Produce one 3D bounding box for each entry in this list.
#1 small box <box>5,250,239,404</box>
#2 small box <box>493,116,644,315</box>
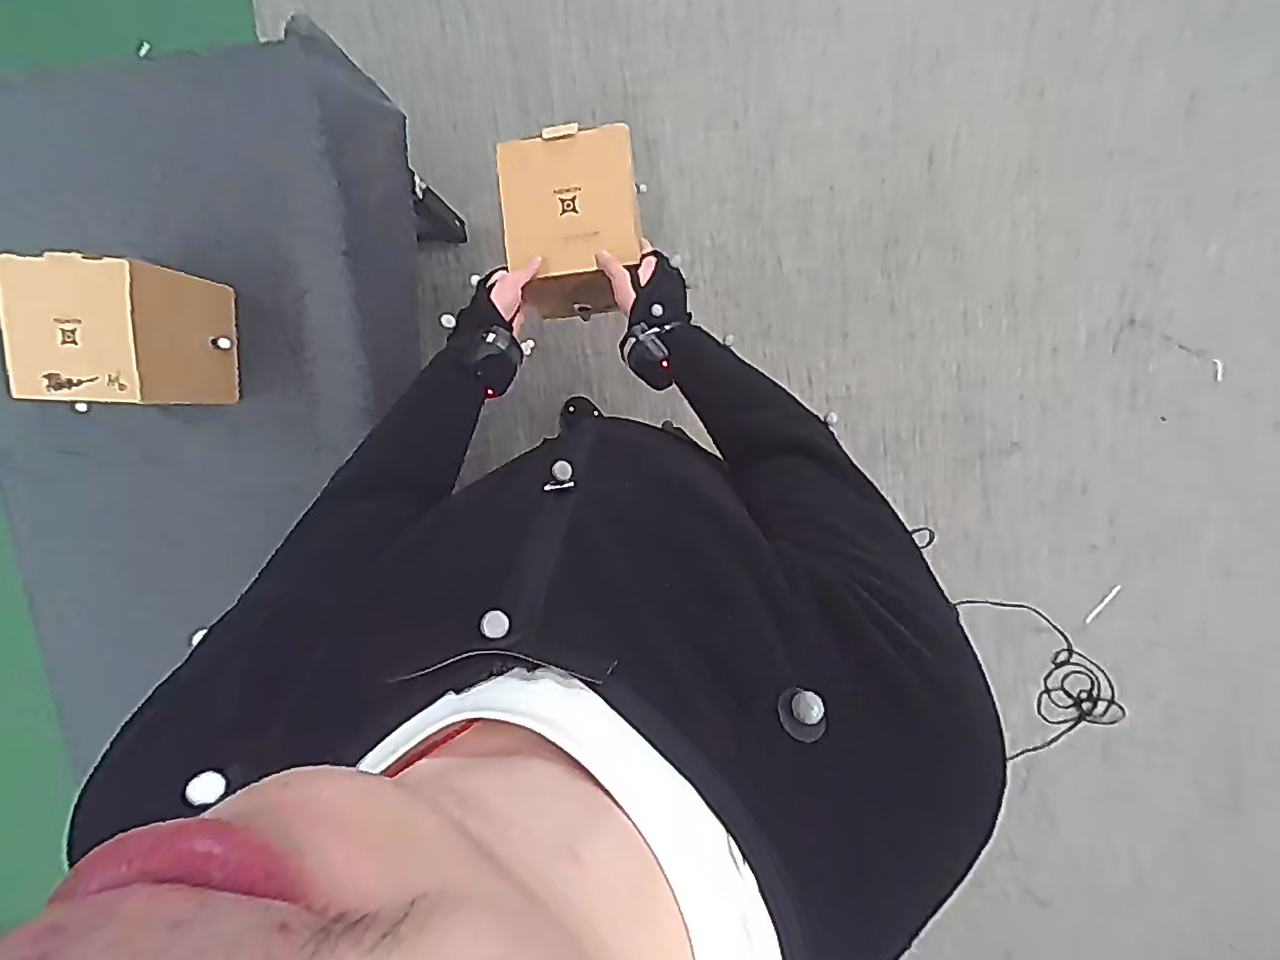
[{"bbox_3d":[-0.694,-0.199,0.746,0.168,0.176,0.179,3,97,0],"label":"small box"},{"bbox_3d":[-0.085,-0.336,0.718,0.168,0.176,0.179,-4,90,5],"label":"small box"}]
